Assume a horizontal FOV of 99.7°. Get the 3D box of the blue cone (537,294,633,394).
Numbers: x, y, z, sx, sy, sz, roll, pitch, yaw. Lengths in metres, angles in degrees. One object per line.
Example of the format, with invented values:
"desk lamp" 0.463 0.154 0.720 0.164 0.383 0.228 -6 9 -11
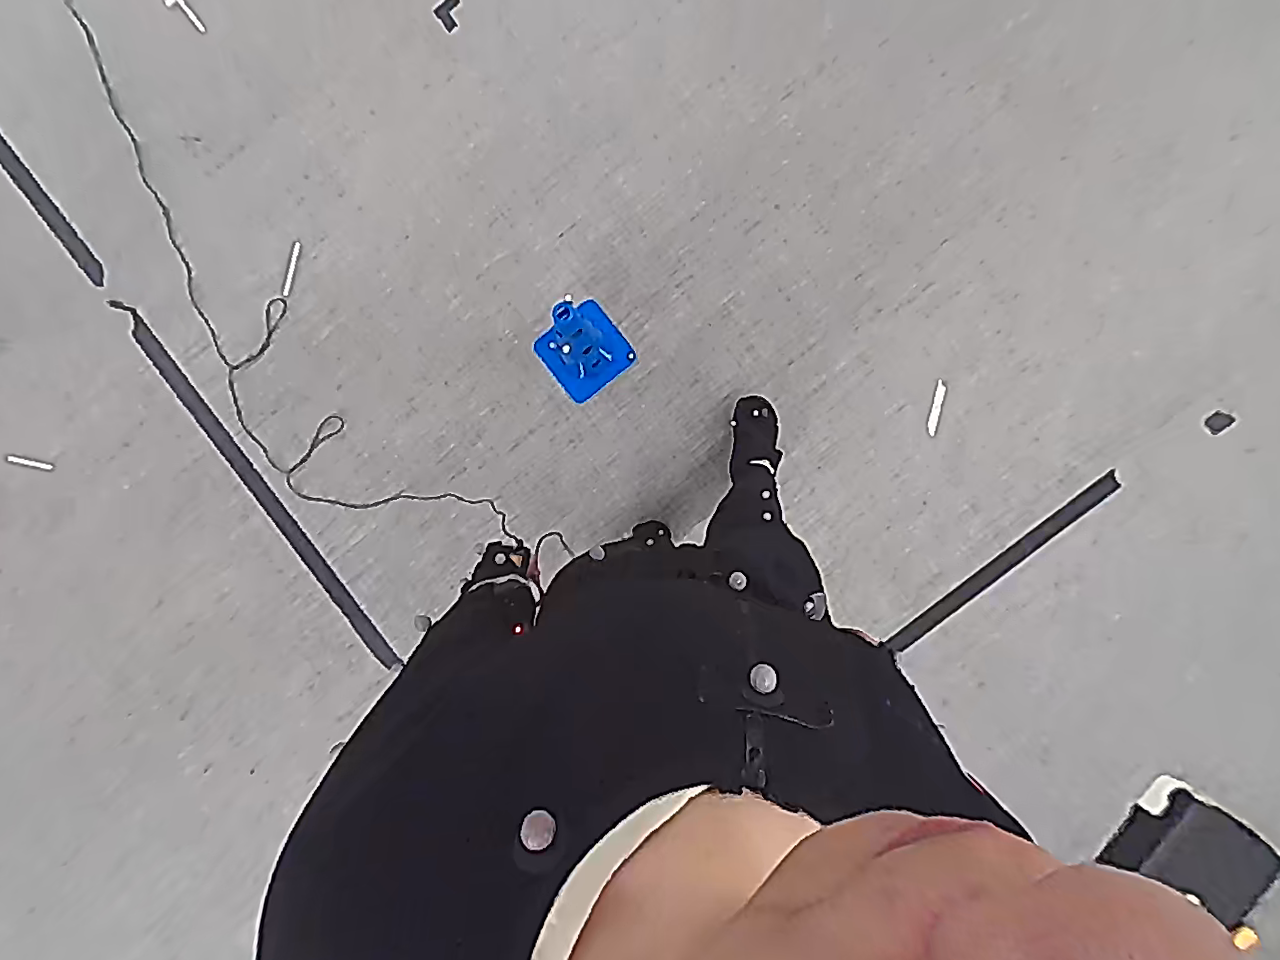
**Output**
"blue cone" -0.141 -0.327 1.188 0.192 0.380 0.193 -37 91 1
